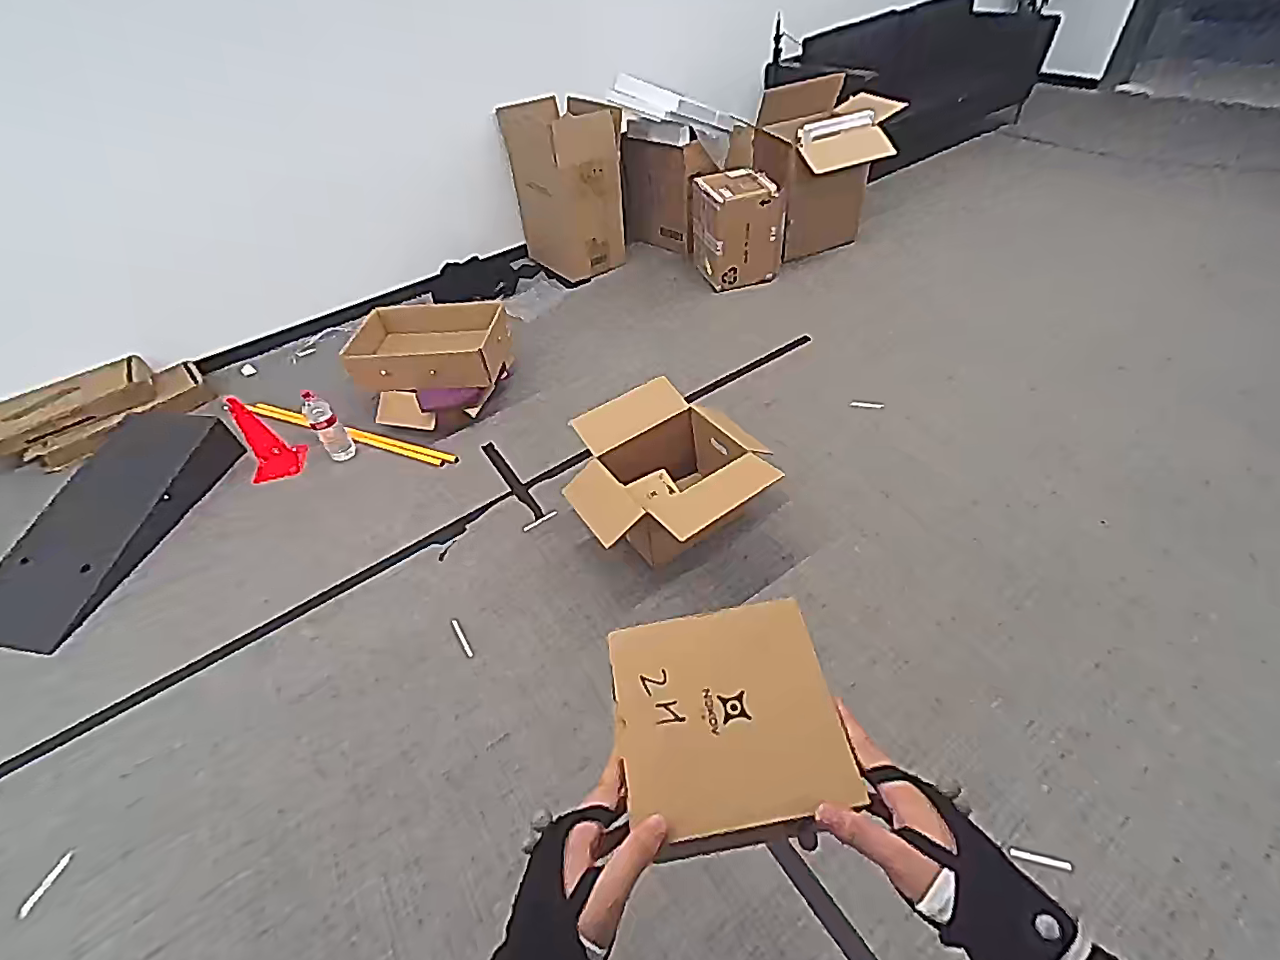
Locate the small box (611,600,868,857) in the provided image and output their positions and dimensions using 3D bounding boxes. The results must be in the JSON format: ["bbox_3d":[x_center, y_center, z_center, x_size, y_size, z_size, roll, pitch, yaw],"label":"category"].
[{"bbox_3d":[0.078,0.233,0.499,0.179,0.176,0.168,-11,51,0],"label":"small box"}]
